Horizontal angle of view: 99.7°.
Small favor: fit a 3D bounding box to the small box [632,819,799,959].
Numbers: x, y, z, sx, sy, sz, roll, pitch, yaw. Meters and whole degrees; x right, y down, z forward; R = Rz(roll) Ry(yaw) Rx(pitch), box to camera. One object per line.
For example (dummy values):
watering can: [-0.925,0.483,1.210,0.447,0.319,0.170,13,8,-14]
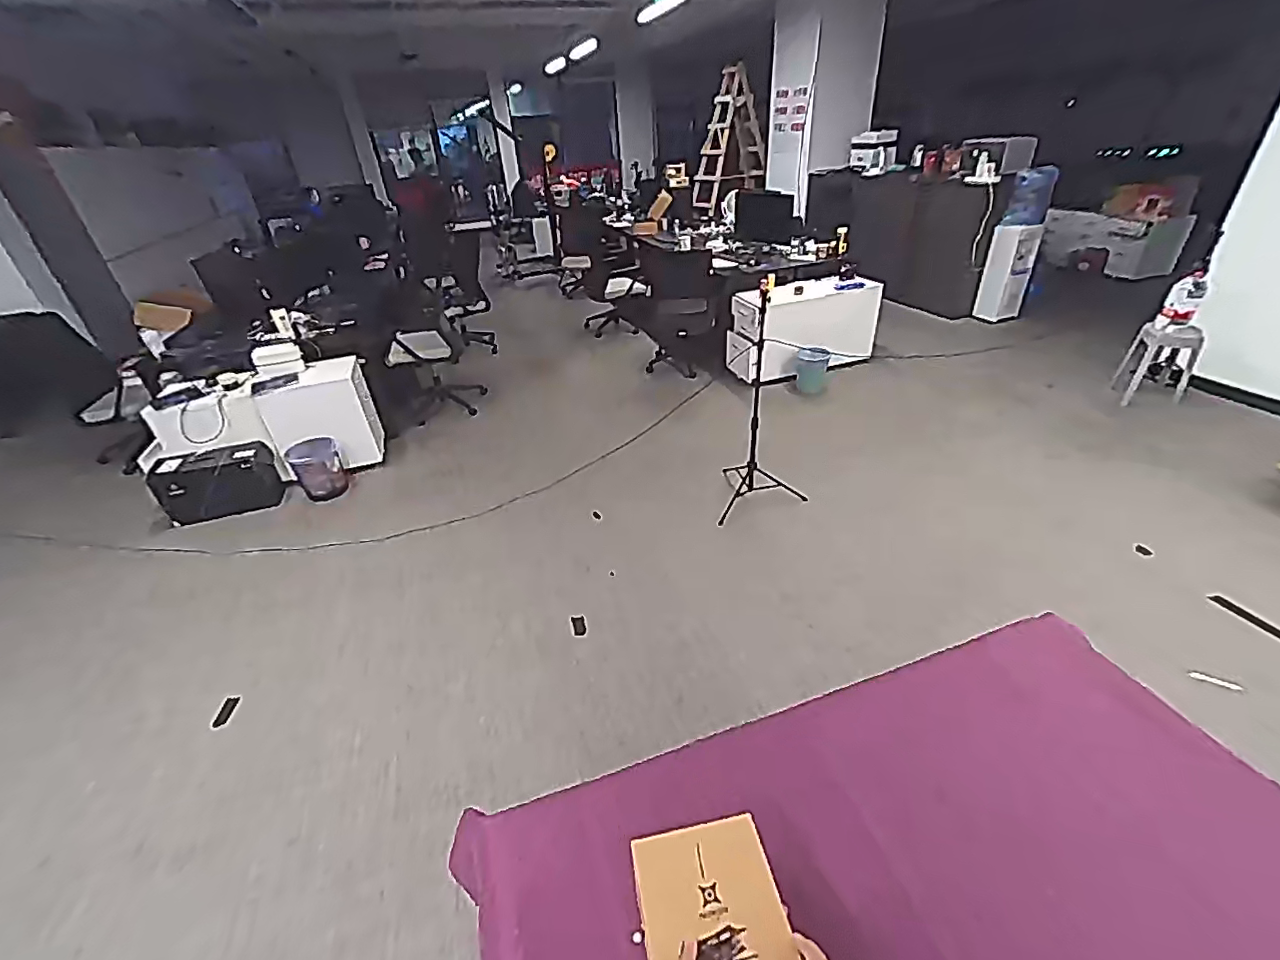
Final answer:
small box: [0.090,0.571,0.676,0.168,0.176,0.179,-8,32,-8]
